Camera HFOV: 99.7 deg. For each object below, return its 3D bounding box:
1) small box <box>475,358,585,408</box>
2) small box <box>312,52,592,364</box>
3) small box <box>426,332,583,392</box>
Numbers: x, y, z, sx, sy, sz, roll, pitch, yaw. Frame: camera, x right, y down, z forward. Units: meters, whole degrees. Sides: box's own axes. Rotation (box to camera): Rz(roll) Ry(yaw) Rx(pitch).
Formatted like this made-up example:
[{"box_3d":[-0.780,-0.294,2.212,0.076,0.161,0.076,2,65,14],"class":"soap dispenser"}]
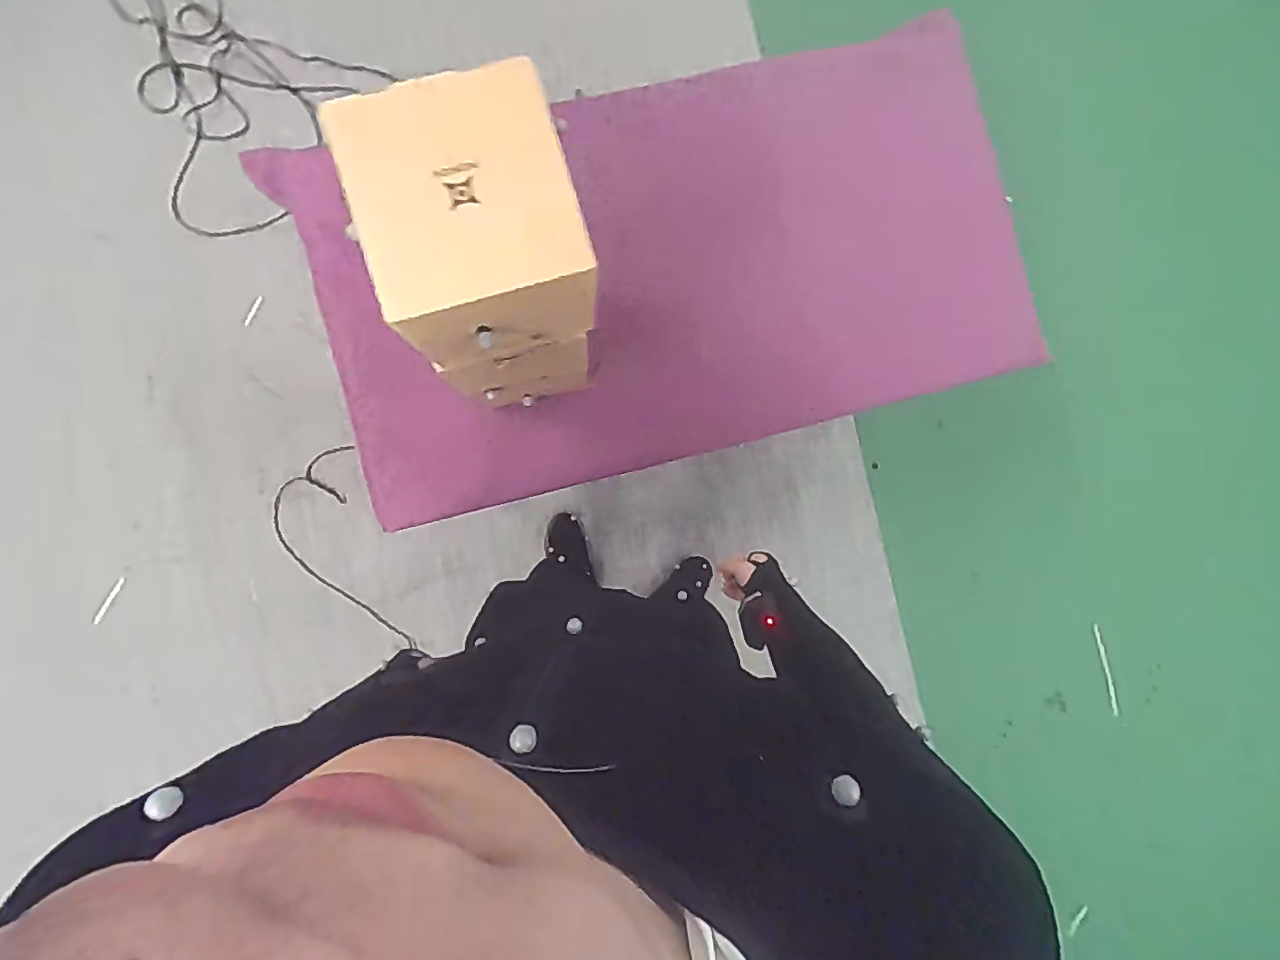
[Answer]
[{"box_3d":[-0.184,-0.218,0.802,0.168,0.176,0.179,-16,91,-6],"class":"small box"},{"box_3d":[-0.143,-0.214,0.479,0.168,0.176,0.179,-18,90,-6],"class":"small box"},{"box_3d":[-0.165,-0.211,0.640,0.168,0.176,0.179,-16,90,-6],"class":"small box"}]
